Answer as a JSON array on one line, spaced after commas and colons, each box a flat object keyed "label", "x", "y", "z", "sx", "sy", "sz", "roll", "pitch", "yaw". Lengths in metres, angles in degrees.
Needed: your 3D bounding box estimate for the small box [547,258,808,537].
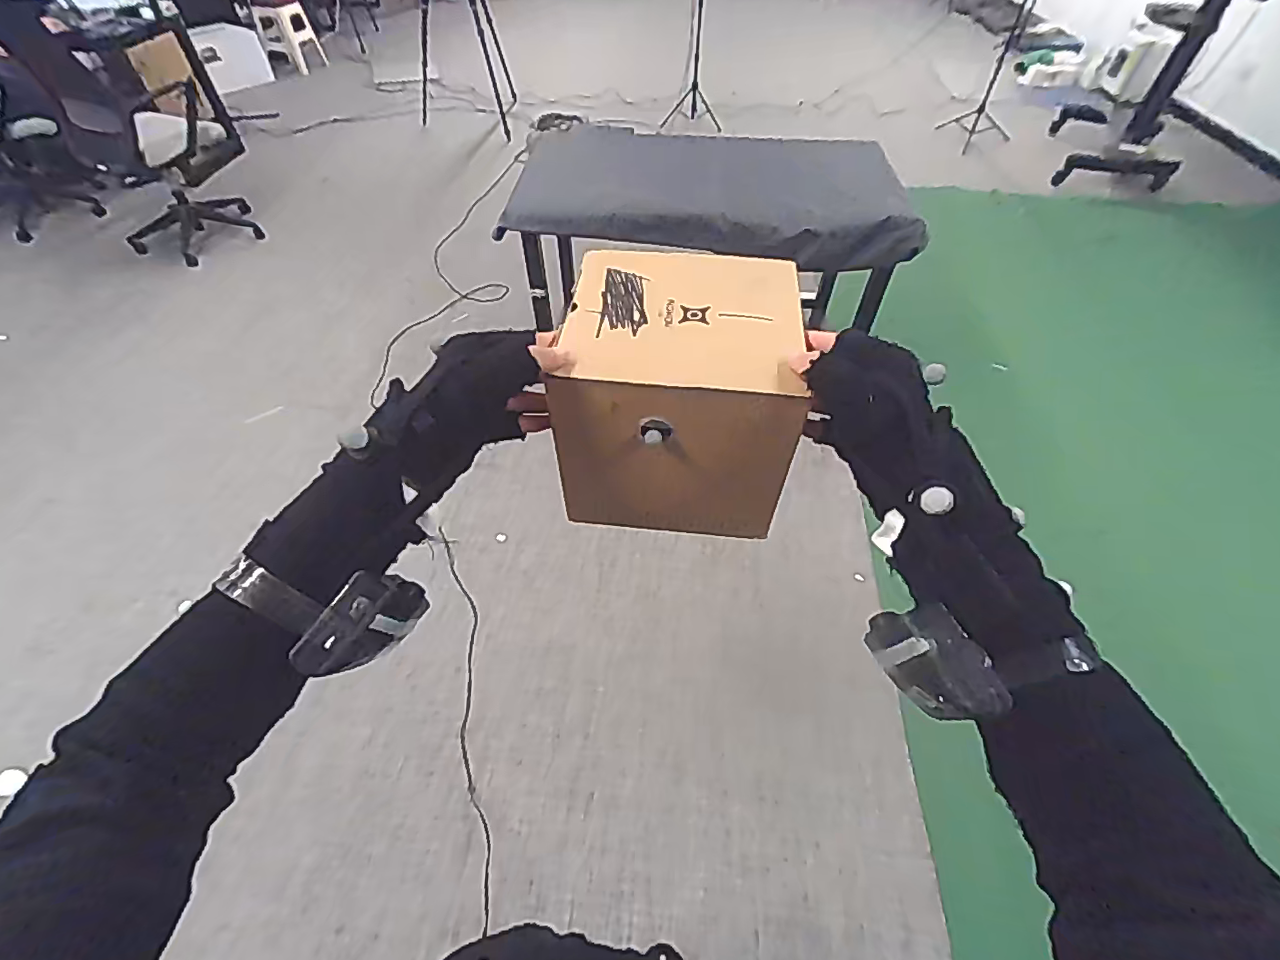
[{"label": "small box", "x": 0.033, "y": -0.067, "z": 0.464, "sx": 0.179, "sy": 0.176, "sz": 0.168, "roll": 6, "pitch": 51, "yaw": 4}]
